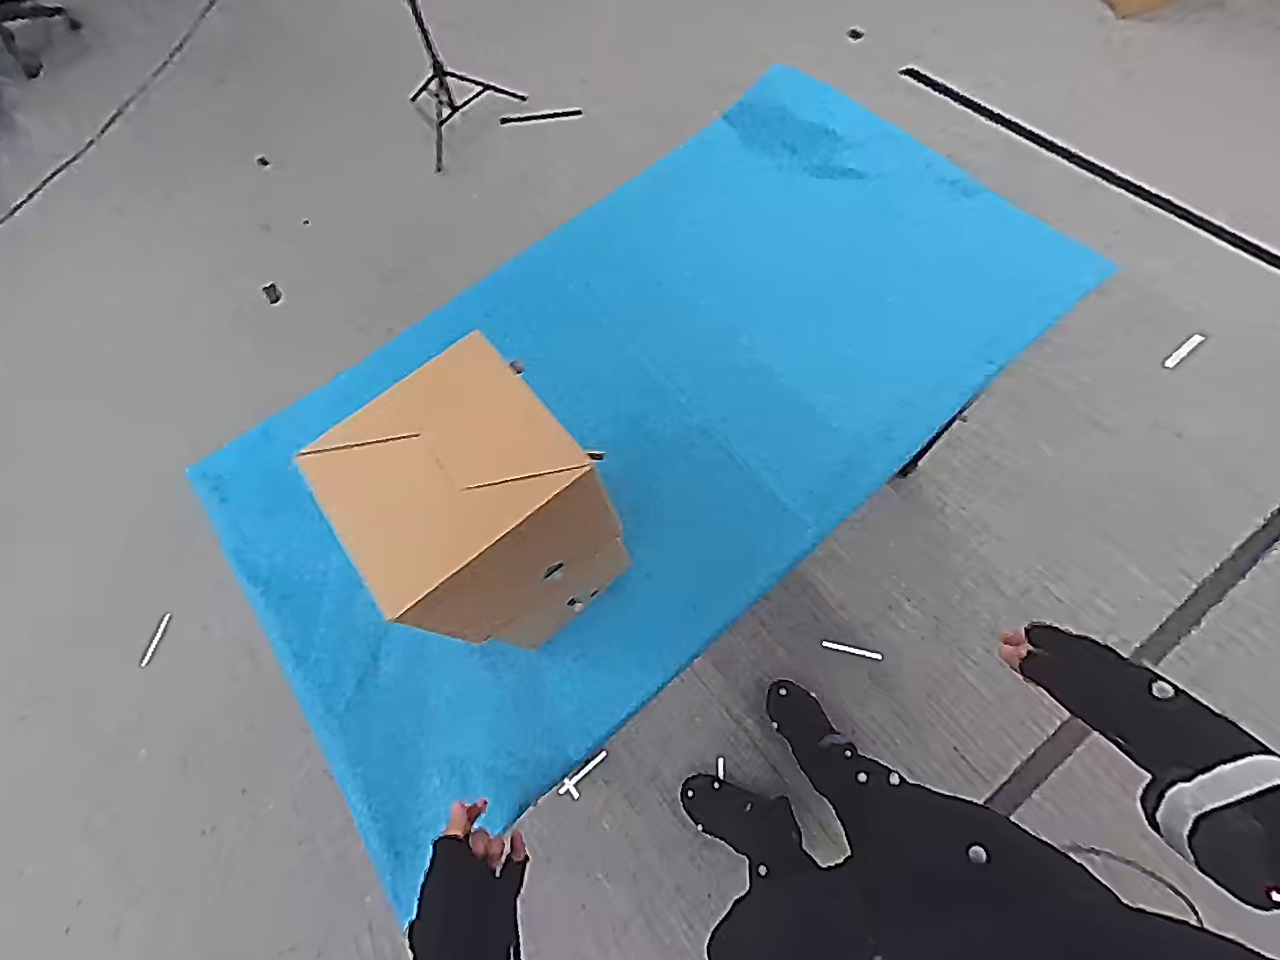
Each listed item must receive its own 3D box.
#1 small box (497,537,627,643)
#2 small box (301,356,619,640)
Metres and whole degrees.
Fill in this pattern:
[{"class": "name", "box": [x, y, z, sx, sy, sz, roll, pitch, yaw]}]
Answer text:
[{"class": "small box", "box": [-0.135, 0.073, 0.637, 0.168, 0.176, 0.179, -38, 71, -7]}, {"class": "small box", "box": [-0.144, 0.018, 0.479, 0.179, 0.176, 0.168, -39, 69, -9]}]
